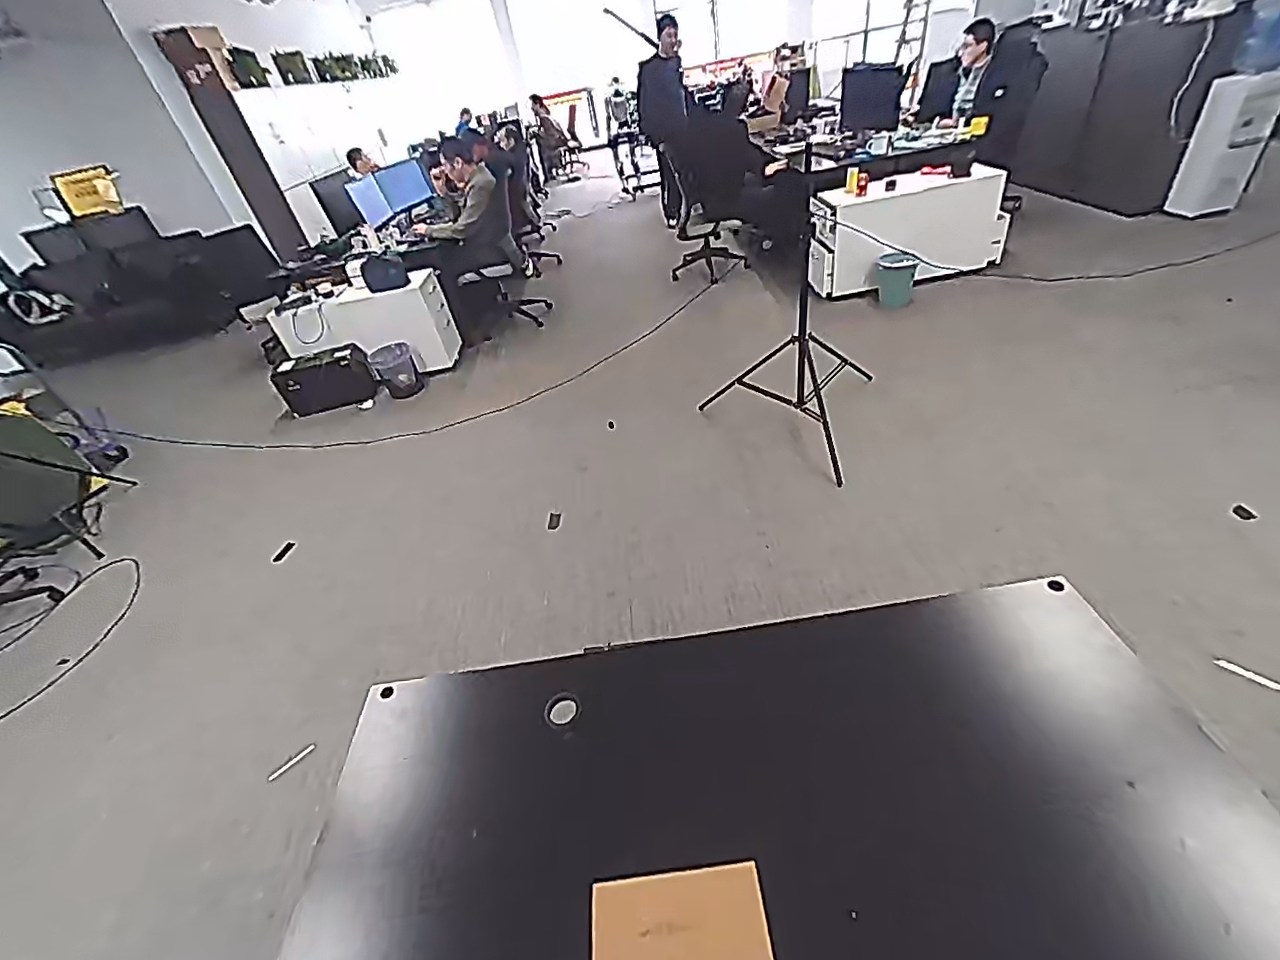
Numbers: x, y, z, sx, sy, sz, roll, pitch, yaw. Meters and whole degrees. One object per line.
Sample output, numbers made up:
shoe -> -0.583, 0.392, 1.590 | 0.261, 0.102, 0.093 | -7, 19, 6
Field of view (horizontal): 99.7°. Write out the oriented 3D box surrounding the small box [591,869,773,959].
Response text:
small box -> 0.050, 0.506, 0.511 | 0.168, 0.176, 0.179 | -9, 37, 2
